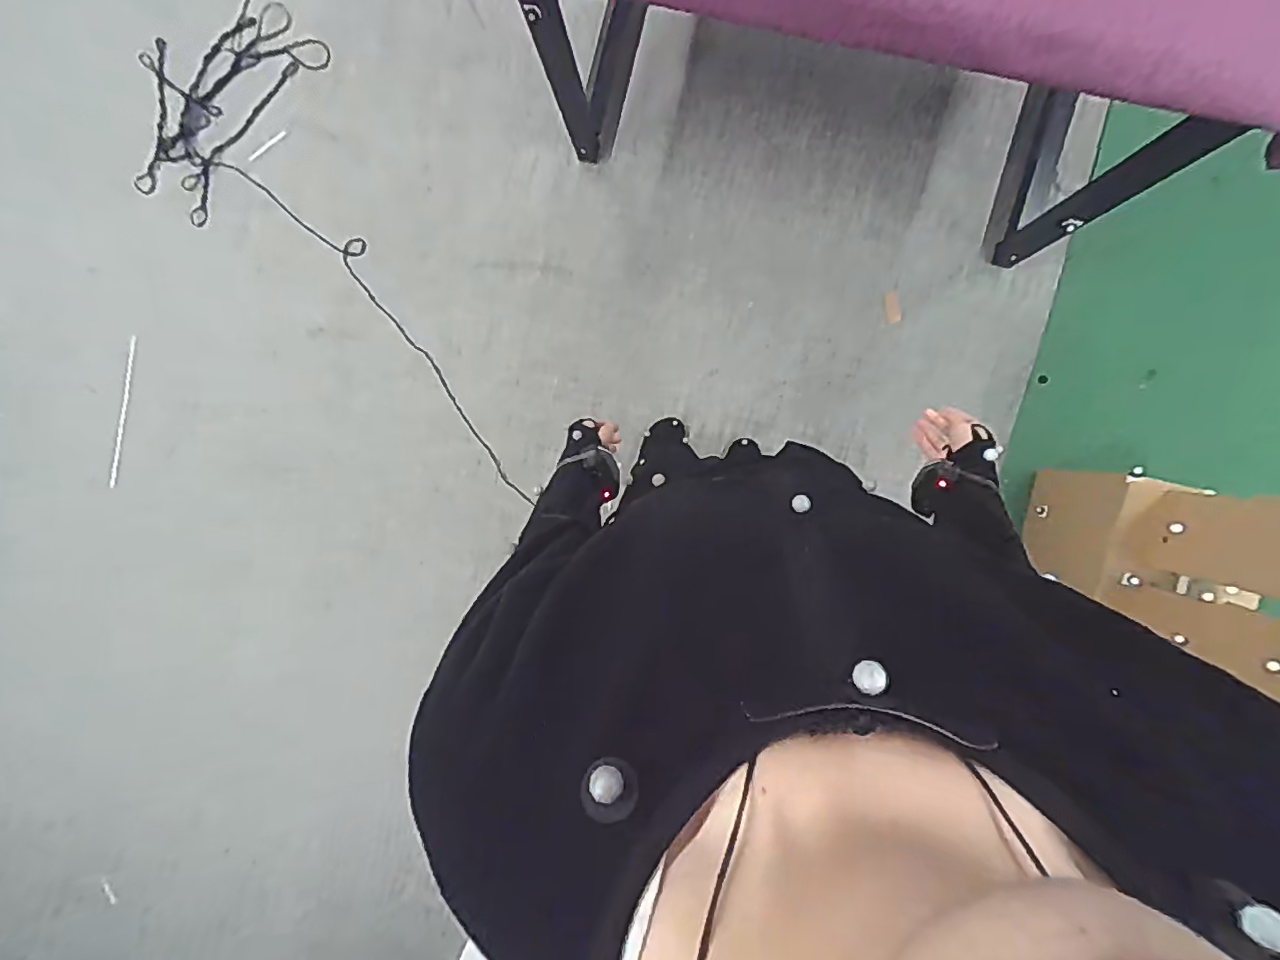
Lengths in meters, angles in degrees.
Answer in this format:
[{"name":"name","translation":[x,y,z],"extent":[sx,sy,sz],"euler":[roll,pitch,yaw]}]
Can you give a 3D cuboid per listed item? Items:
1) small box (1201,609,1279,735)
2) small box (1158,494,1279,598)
[{"name":"small box","translation":[1.084,0.332,0.872],"extent":[0.168,0.176,0.179],"euler":[20,93,5]},{"name":"small box","translation":[1.153,0.124,1.018],"extent":[0.179,0.176,0.168],"euler":[10,94,5]}]
